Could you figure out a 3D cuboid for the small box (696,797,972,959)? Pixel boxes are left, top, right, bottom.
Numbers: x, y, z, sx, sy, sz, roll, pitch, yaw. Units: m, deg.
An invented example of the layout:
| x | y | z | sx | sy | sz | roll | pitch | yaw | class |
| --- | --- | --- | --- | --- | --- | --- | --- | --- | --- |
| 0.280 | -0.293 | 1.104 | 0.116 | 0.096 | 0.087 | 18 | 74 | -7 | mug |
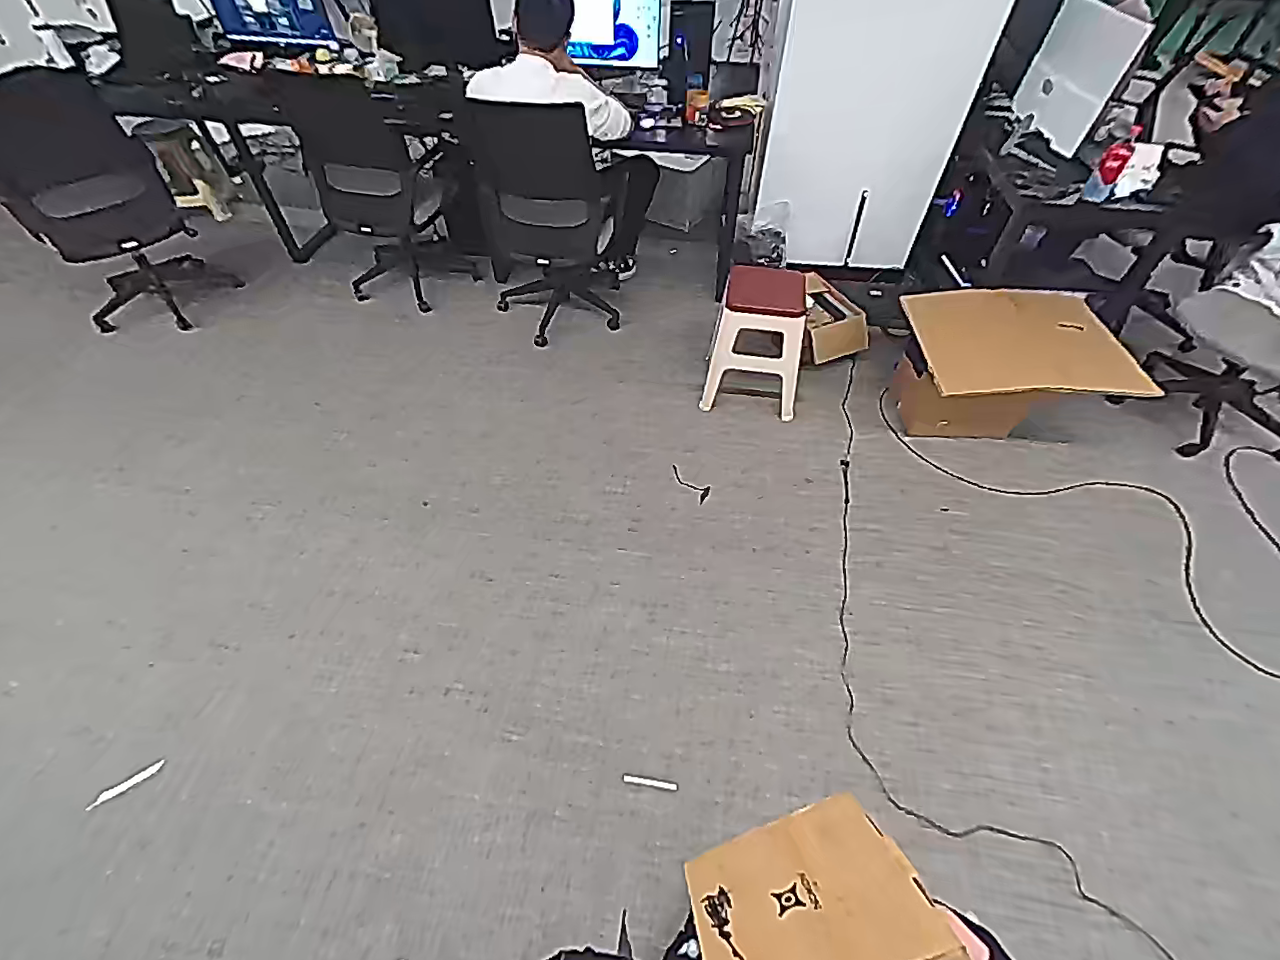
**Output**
| x | y | z | sx | sy | sz | roll | pitch | yaw | class |
| --- | --- | --- | --- | --- | --- | --- | --- | --- | --- |
| 0.165 | 0.418 | 0.450 | 0.179 | 0.168 | 0.176 | -20 | 93 | -3 | small box |
